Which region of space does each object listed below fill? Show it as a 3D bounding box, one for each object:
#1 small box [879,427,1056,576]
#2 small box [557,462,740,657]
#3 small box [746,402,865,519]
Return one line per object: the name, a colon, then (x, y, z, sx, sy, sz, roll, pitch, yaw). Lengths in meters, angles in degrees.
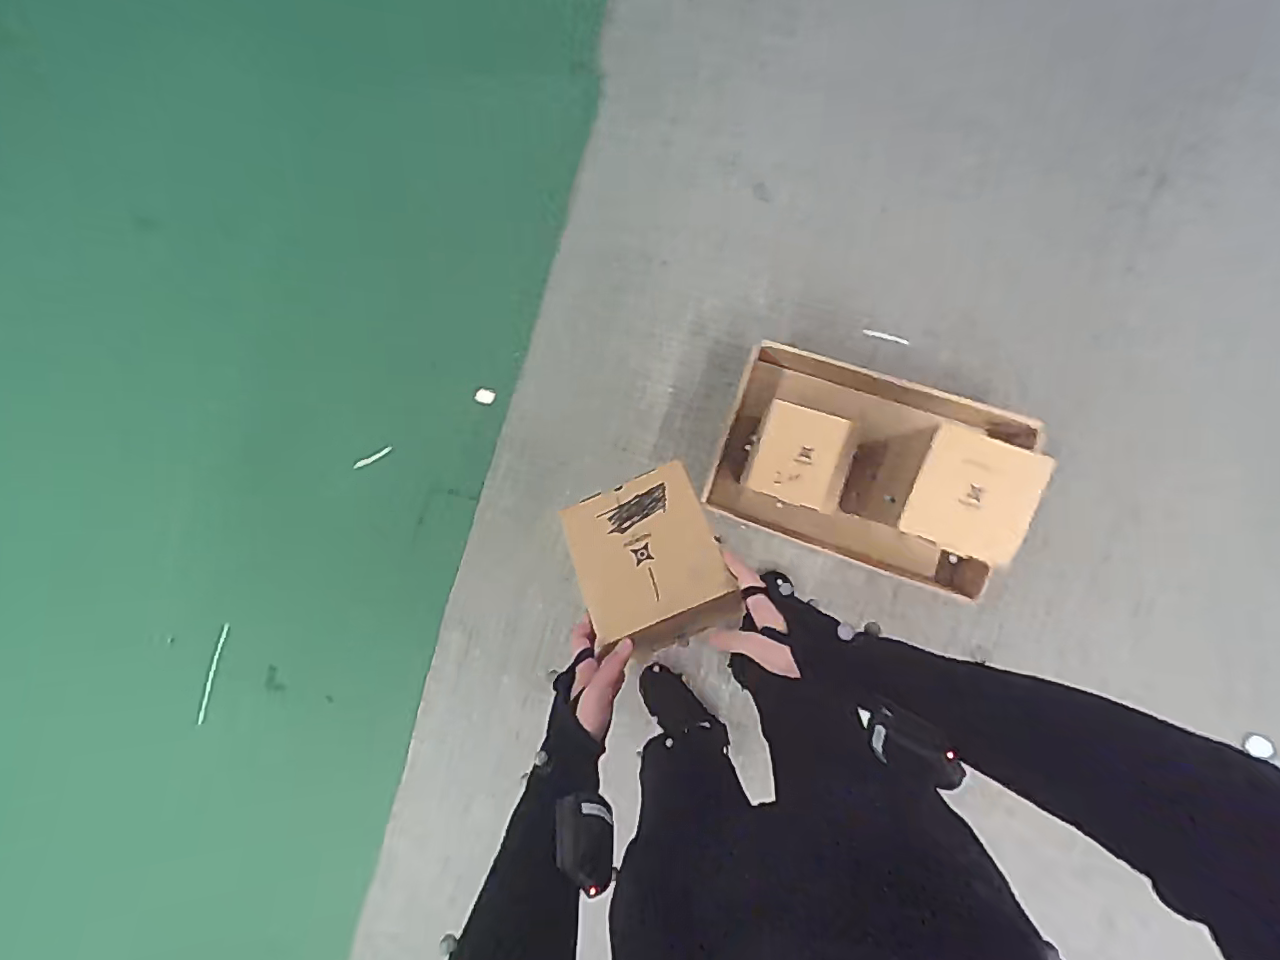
small box: (0.508, 0.031, 0.871, 0.168, 0.176, 0.179, 23, 94, 10)
small box: (0.017, 0.110, 0.692, 0.168, 0.176, 0.179, -24, 64, 4)
small box: (0.313, -0.035, 1.063, 0.168, 0.176, 0.179, 19, 92, 8)
